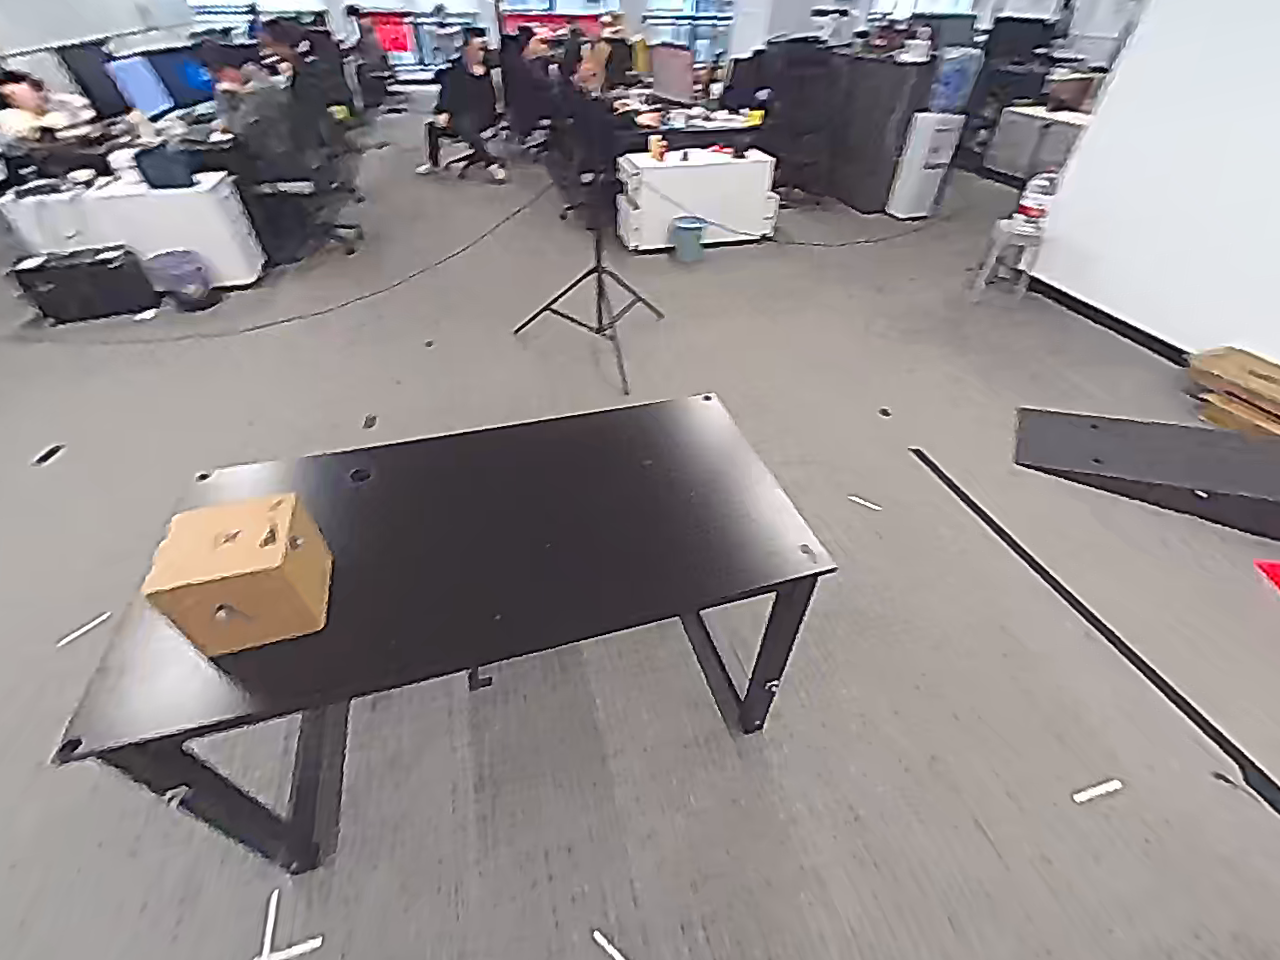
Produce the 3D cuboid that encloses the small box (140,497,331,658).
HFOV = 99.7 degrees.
[{"bbox_3d":[-0.626,0.158,0.866,0.179,0.176,0.168,-13,44,-14],"label":"small box"}]
